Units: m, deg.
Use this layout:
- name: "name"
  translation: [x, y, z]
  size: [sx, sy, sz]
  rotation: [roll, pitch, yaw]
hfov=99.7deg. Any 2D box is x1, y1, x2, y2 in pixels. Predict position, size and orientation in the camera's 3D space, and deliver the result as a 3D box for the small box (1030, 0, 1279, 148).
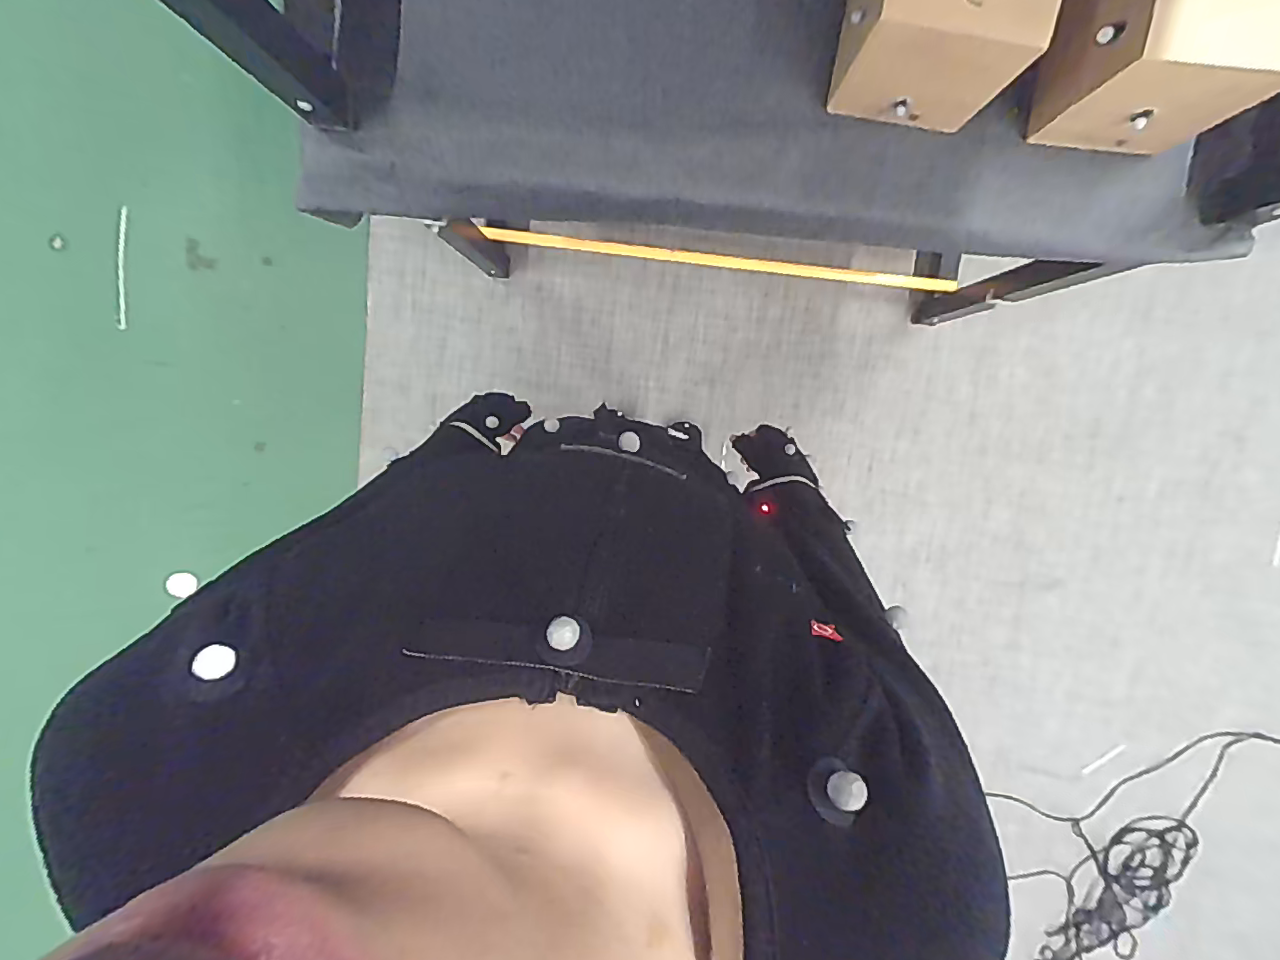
- name: "small box"
  translation: [0.568, -0.491, 0.585]
  size: [0.168, 0.176, 0.179]
  rotation: [6, 97, 0]
